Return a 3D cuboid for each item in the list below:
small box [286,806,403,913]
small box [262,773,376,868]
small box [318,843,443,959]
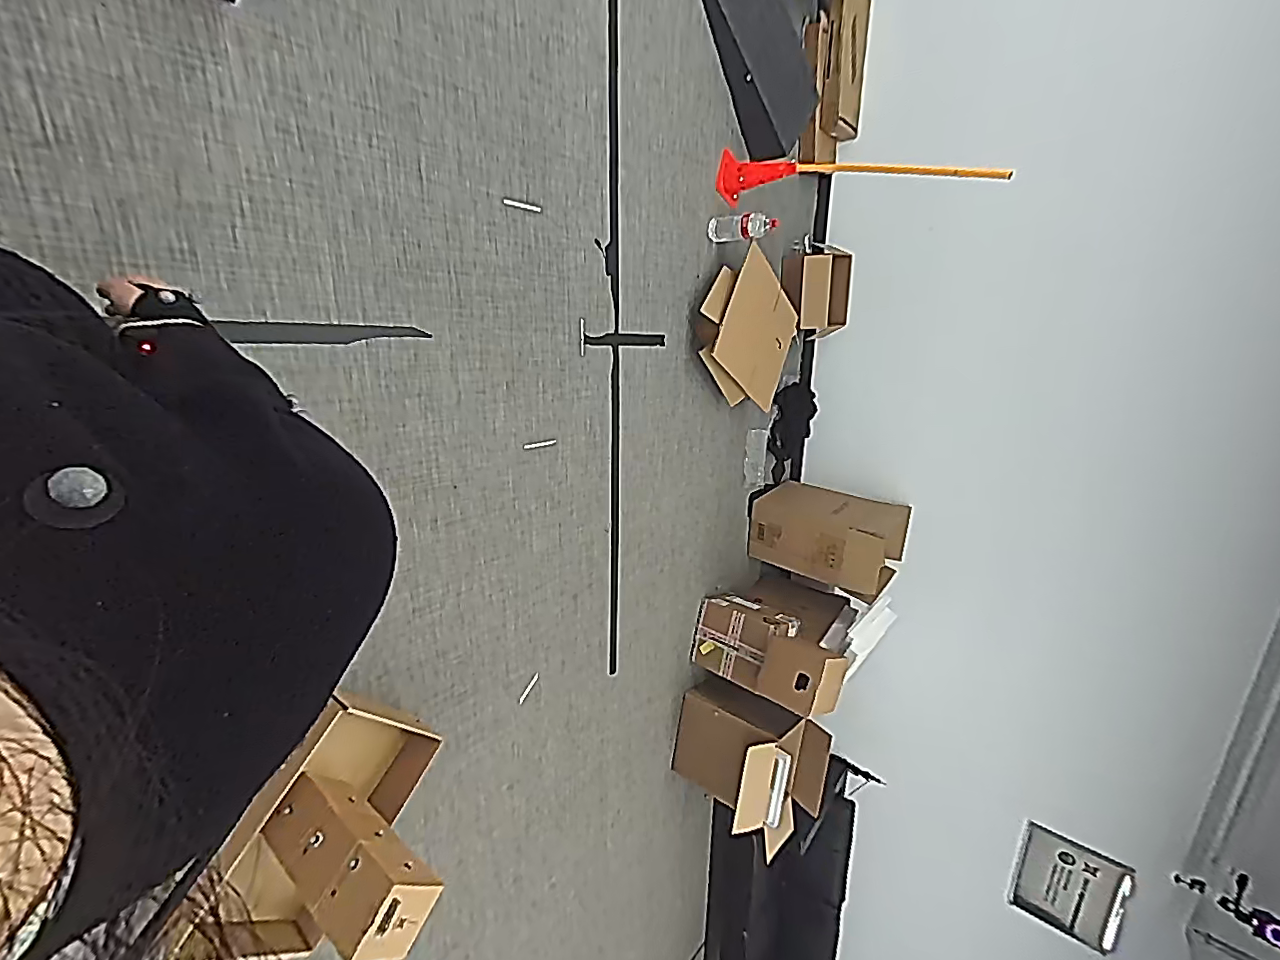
[{"bbox_3d":[-0.753,0.970,1.387,0.168,0.176,0.179,-60,140,-23],"label":"small box"},{"bbox_3d":[-0.880,0.937,1.482,0.168,0.176,0.179,-58,140,-24],"label":"small box"},{"bbox_3d":[-0.621,1.002,1.293,0.168,0.176,0.179,-60,142,-22],"label":"small box"}]
